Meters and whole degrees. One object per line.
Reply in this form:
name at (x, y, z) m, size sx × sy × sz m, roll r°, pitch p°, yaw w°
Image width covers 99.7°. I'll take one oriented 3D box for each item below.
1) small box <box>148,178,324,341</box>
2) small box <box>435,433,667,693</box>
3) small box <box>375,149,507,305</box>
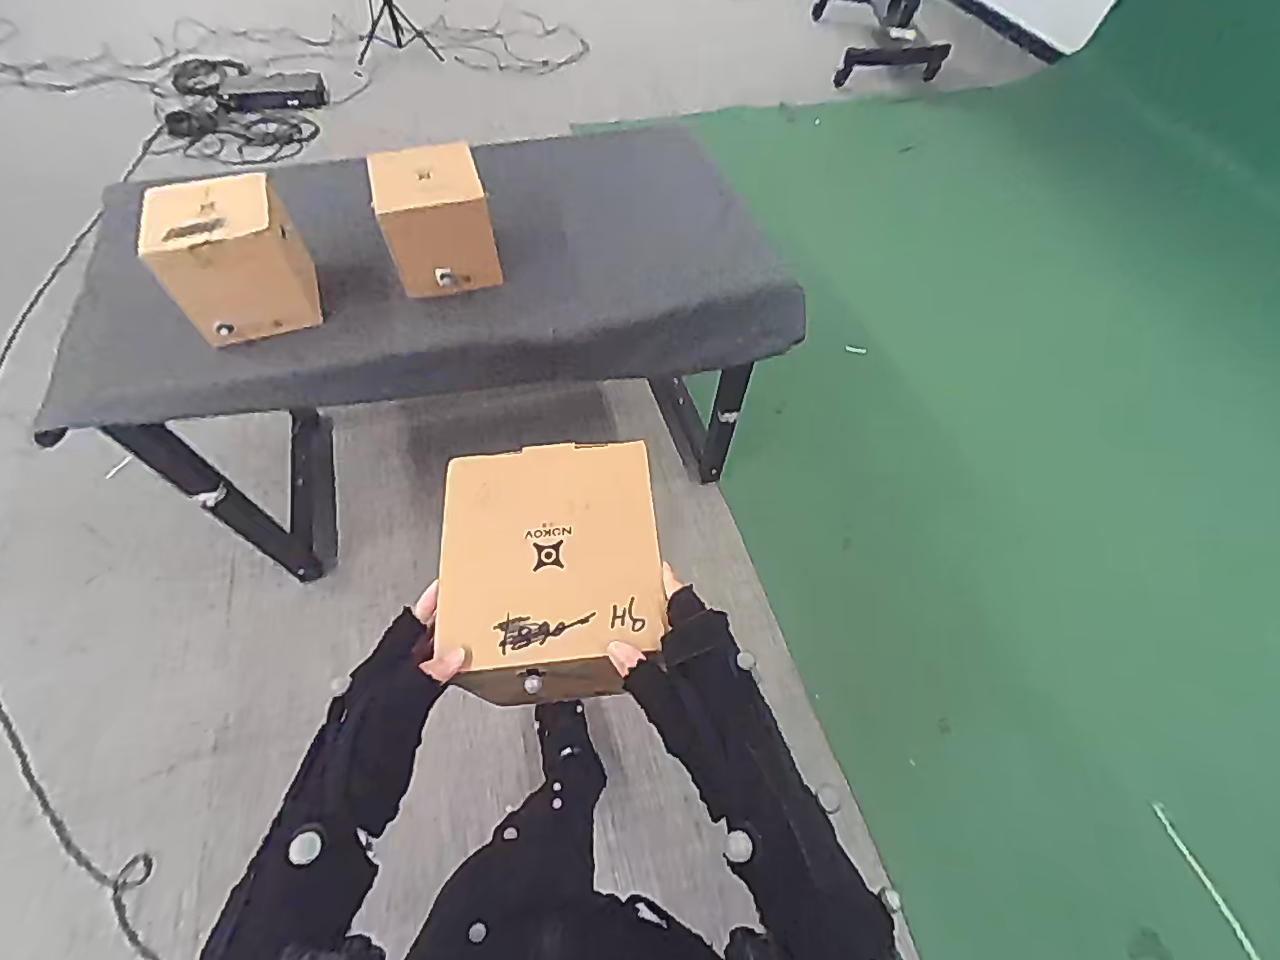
small box at (-0.625, -0.342, 0.859) m, size 0.168 × 0.176 × 0.179 m, roll -18°, pitch 58°, yaw -14°
small box at (-0.067, 0.081, 0.490) m, size 0.168 × 0.176 × 0.179 m, roll -6°, pitch 60°, yaw 0°
small box at (-0.340, -0.435, 0.938) m, size 0.168 × 0.176 × 0.179 m, roll -16°, pitch 61°, yaw -11°
